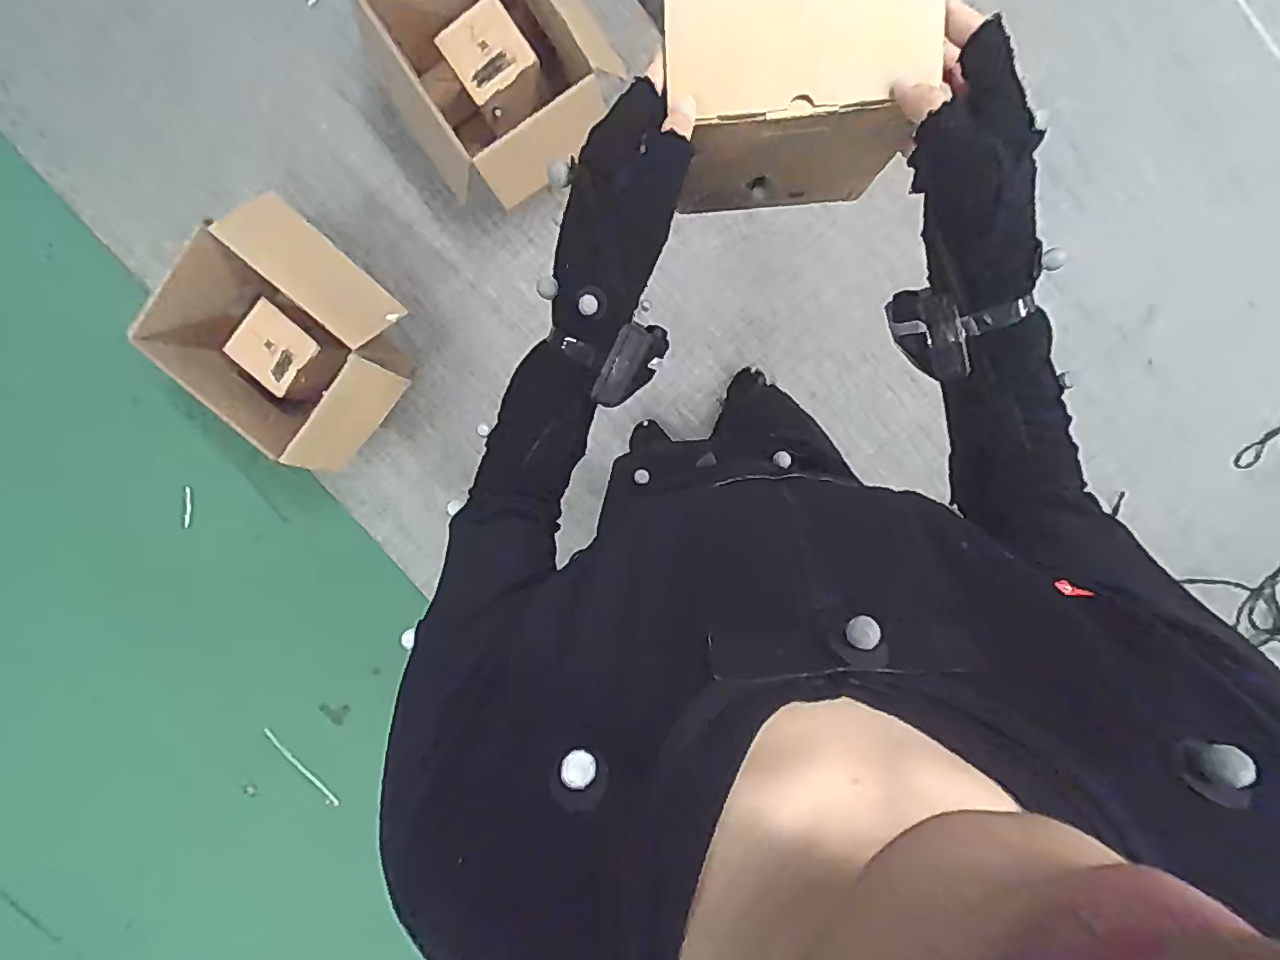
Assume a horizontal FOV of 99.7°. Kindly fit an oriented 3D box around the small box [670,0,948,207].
[{"bbox_3d":[0.107,-0.326,0.399,0.168,0.176,0.179,-1,99,7],"label":"small box"}]
